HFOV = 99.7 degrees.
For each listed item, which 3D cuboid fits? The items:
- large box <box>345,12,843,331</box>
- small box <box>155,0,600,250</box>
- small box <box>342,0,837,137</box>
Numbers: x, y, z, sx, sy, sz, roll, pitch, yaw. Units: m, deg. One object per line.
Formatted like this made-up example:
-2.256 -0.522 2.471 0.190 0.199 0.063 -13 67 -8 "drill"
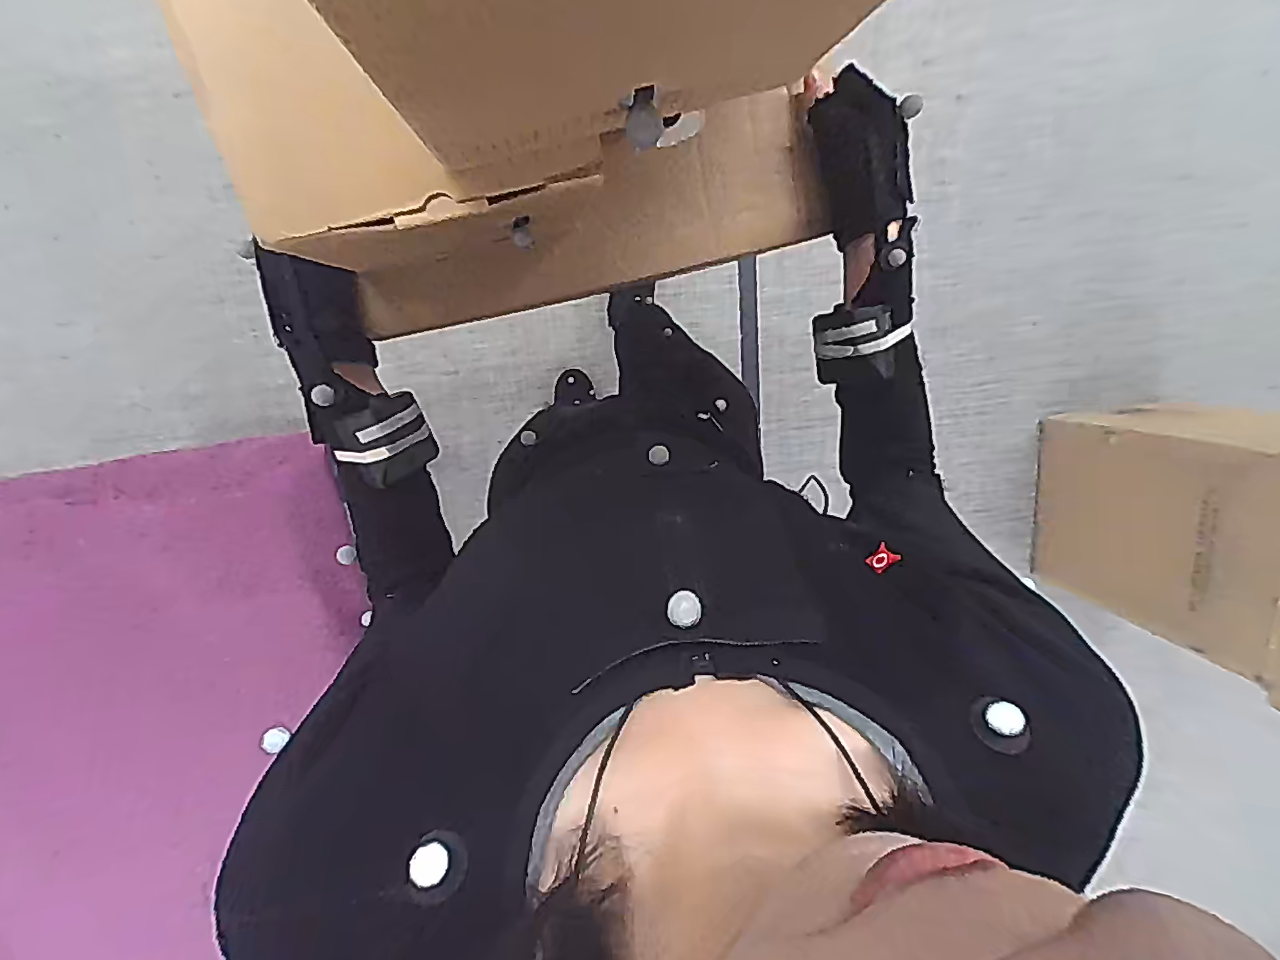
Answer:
-0.081 -0.352 0.525 0.408 0.320 0.320 -16 110 -6 "large box"
-0.128 -0.235 0.295 0.168 0.176 0.179 -17 108 -7 "small box"
-0.014 -0.222 0.145 0.179 0.176 0.168 -17 110 -4 "small box"
